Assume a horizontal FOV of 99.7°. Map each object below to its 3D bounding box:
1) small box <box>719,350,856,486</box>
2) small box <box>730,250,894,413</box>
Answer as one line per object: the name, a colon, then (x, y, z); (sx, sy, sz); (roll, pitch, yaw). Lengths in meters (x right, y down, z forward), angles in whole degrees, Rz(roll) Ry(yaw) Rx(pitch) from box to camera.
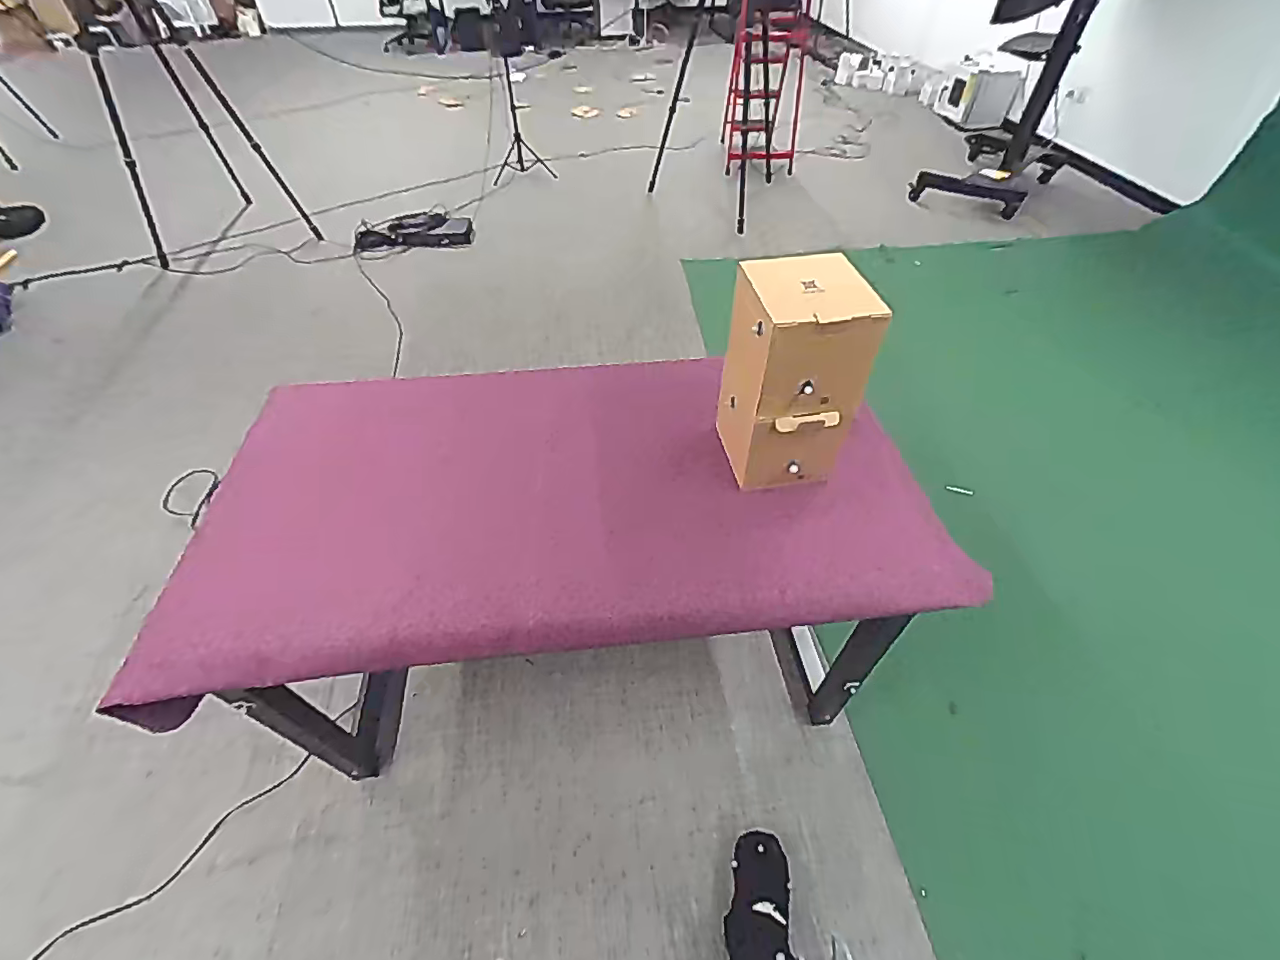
small box: (0.241, -0.114, 0.940); (0.168, 0.176, 0.179); (-8, 50, -5)
small box: (0.243, -0.225, 0.820); (0.168, 0.176, 0.179); (-7, 50, -6)
